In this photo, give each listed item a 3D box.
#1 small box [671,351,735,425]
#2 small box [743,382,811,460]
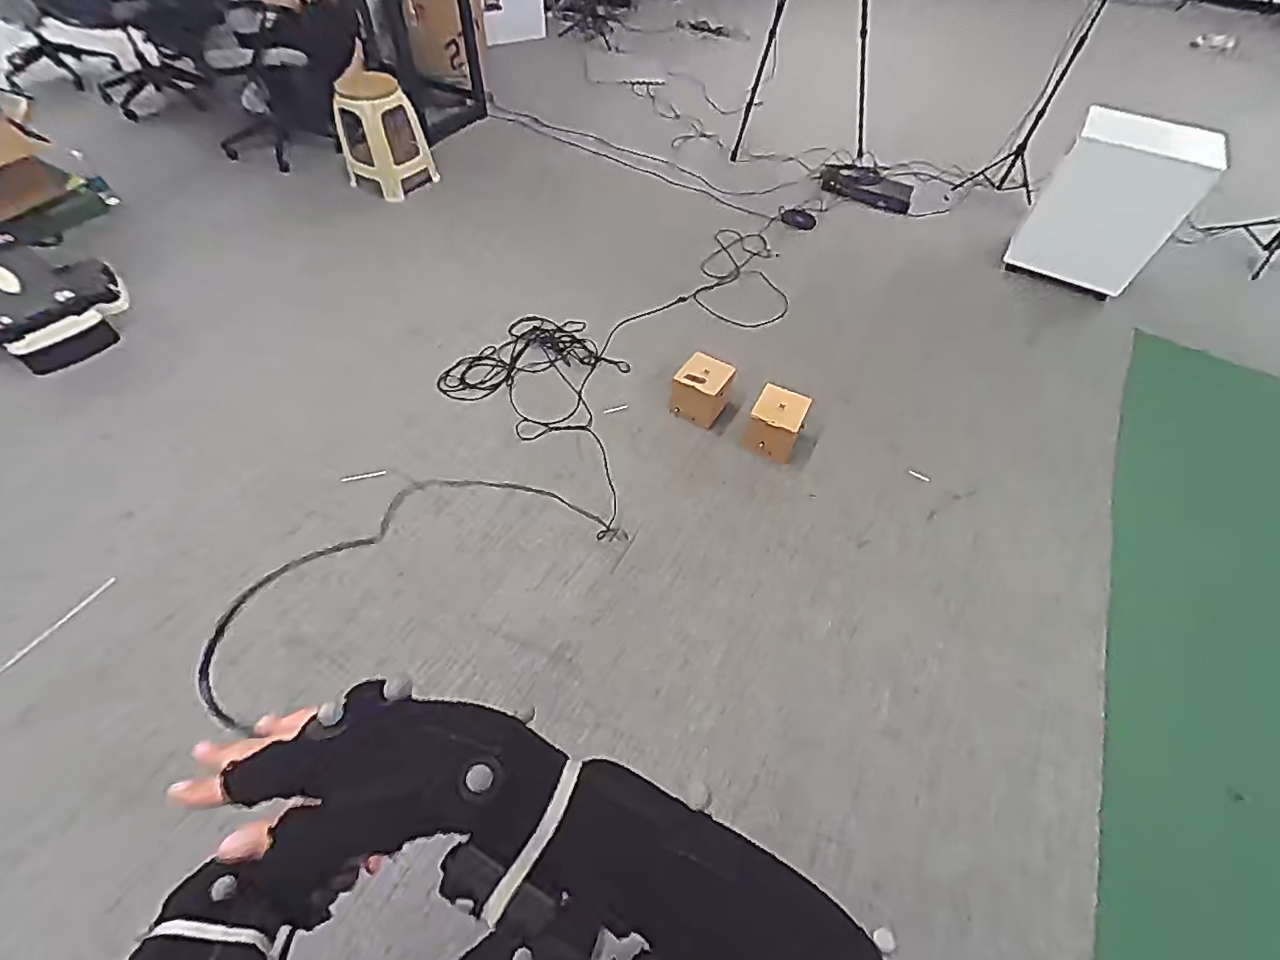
[{"bbox_3d":[0.224,-0.333,1.974,0.168,0.176,0.179,28,57,17],"label":"small box"},{"bbox_3d":[0.473,-0.204,1.893,0.168,0.176,0.179,24,57,14],"label":"small box"}]
